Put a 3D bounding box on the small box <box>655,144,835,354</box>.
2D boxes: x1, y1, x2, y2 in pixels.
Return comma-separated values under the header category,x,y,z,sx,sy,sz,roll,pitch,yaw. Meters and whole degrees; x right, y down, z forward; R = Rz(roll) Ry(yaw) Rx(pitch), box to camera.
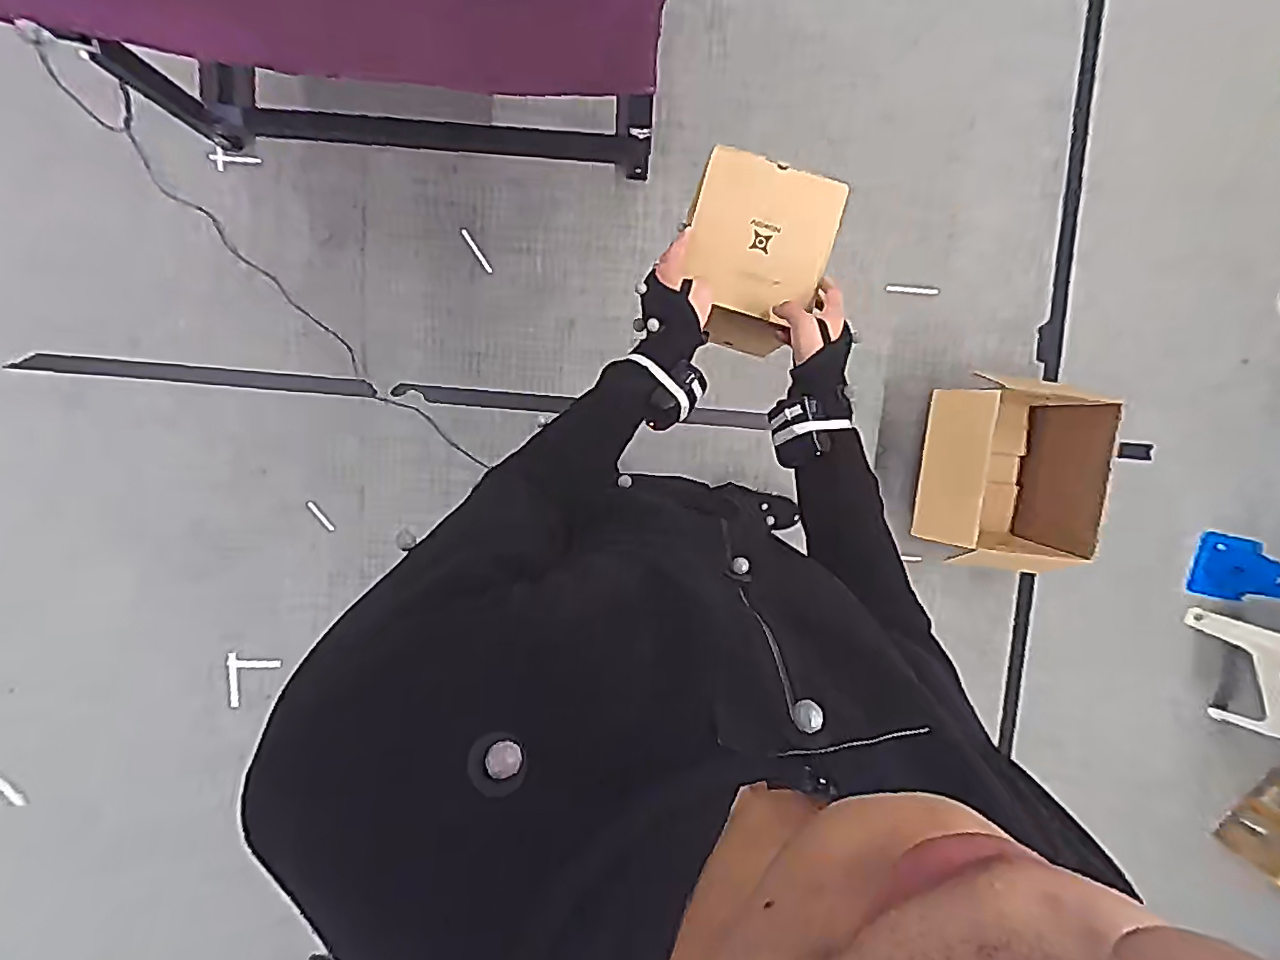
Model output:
category,x,y,z,sx,sy,sz,roll,pitch,yaw
small box,0.122,-0.282,0.703,0.168,0.176,0.179,15,90,-5
